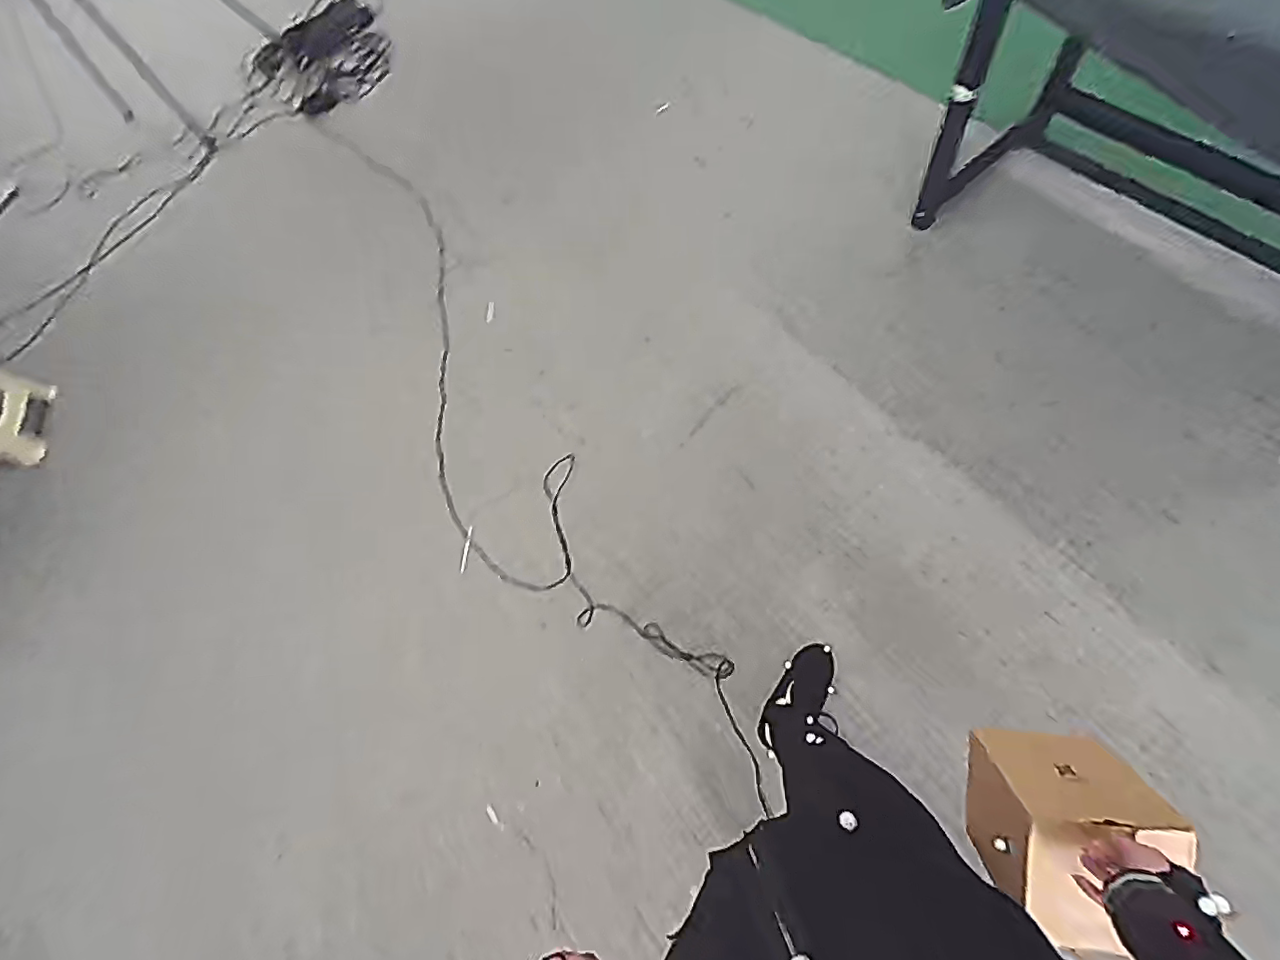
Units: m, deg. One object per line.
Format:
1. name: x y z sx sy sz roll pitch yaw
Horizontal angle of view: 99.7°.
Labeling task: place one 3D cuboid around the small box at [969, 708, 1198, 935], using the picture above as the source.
1. small box: 0.543 0.425 0.691 0.168 0.179 0.176 0 102 12
